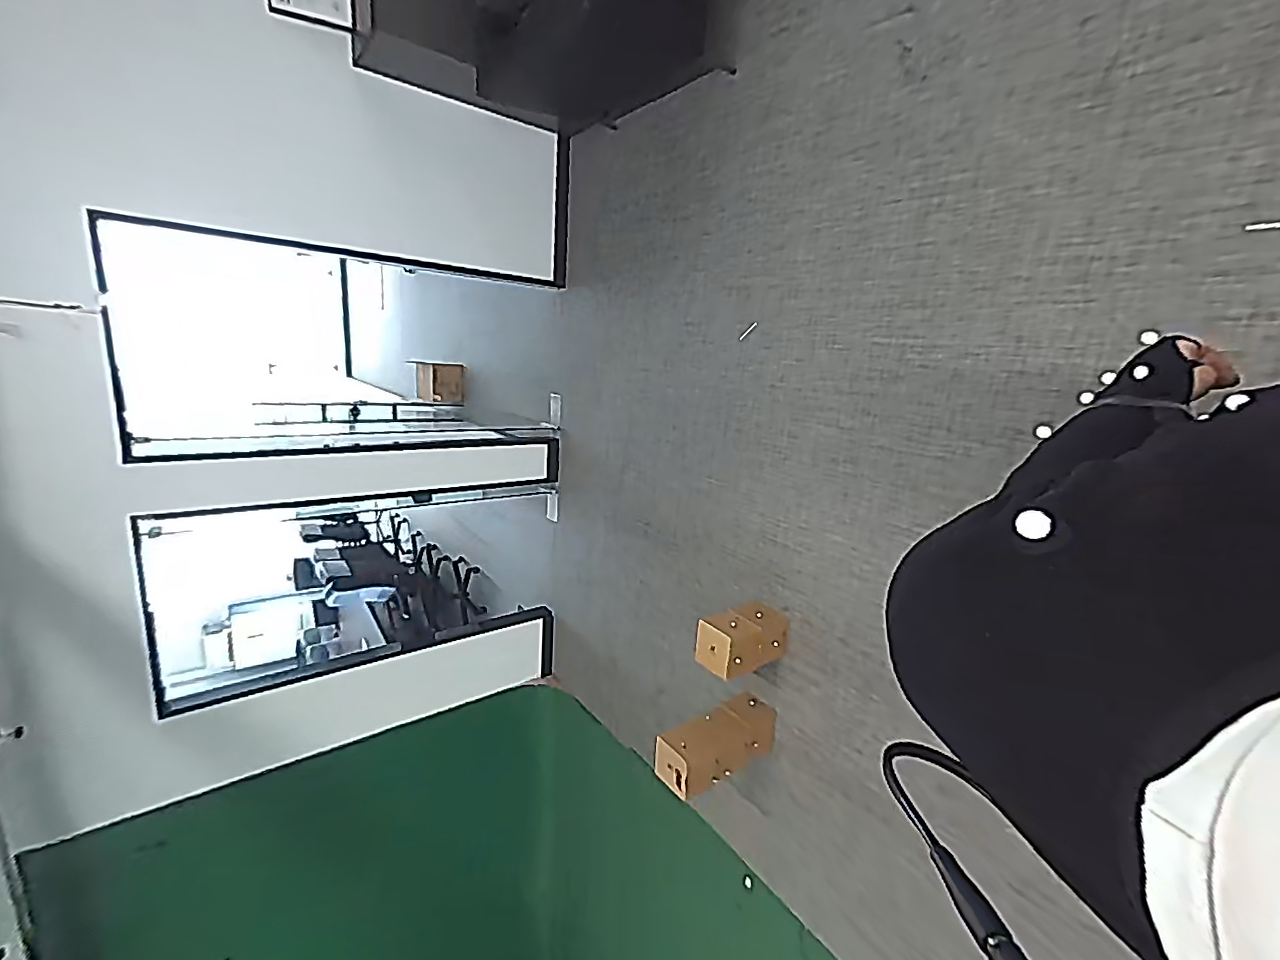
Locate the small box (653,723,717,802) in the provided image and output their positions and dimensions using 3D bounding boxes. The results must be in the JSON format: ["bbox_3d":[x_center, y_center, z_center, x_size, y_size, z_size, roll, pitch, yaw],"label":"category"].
[{"bbox_3d":[0.168,1.037,2.005,0.179,0.176,0.168,18,108,52],"label":"small box"}]

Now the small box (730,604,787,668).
[{"bbox_3d":[0.452,0.604,2.128,0.179,0.176,0.168,22,110,49],"label":"small box"}]

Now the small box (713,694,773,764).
[{"bbox_3d":[0.422,1.012,2.211,0.168,0.176,0.179,20,109,50],"label":"small box"}]

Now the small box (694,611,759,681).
[{"bbox_3d":[0.327,0.613,2.024,0.168,0.176,0.179,20,111,50],"label":"small box"}]
